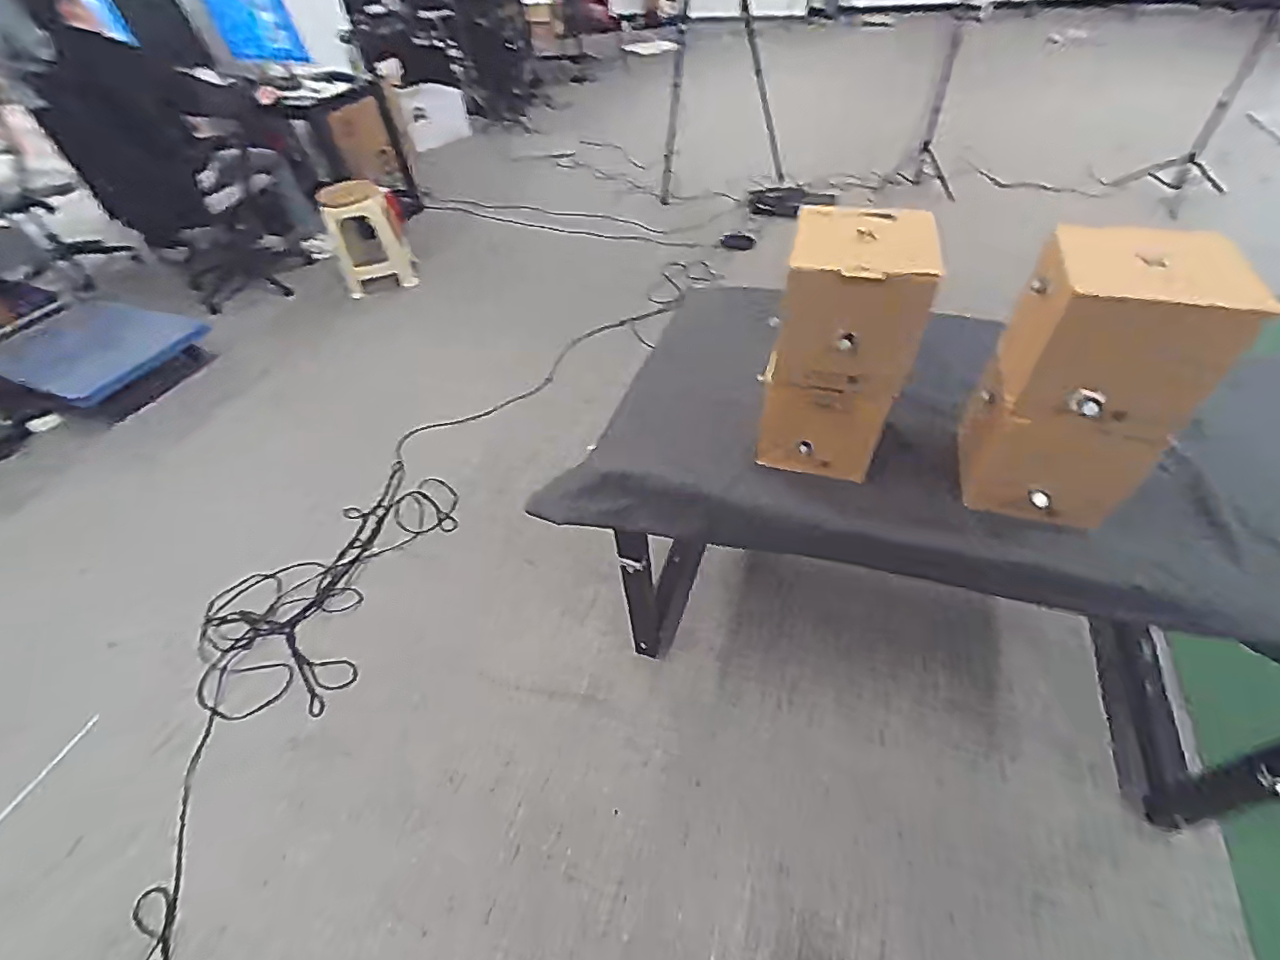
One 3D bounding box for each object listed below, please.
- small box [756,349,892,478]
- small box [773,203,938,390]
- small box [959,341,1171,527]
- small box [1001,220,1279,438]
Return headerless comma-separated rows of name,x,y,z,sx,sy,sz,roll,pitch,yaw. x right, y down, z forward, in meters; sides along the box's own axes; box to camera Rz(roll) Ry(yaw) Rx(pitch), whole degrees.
small box,0.279,-0.132,0.832,0.168,0.176,0.179,11,50,14
small box,0.272,-0.239,0.708,0.168,0.176,0.179,10,50,13
small box,0.556,-0.066,0.742,0.168,0.176,0.179,12,50,16
small box,0.542,-0.176,0.624,0.168,0.176,0.179,12,50,18
